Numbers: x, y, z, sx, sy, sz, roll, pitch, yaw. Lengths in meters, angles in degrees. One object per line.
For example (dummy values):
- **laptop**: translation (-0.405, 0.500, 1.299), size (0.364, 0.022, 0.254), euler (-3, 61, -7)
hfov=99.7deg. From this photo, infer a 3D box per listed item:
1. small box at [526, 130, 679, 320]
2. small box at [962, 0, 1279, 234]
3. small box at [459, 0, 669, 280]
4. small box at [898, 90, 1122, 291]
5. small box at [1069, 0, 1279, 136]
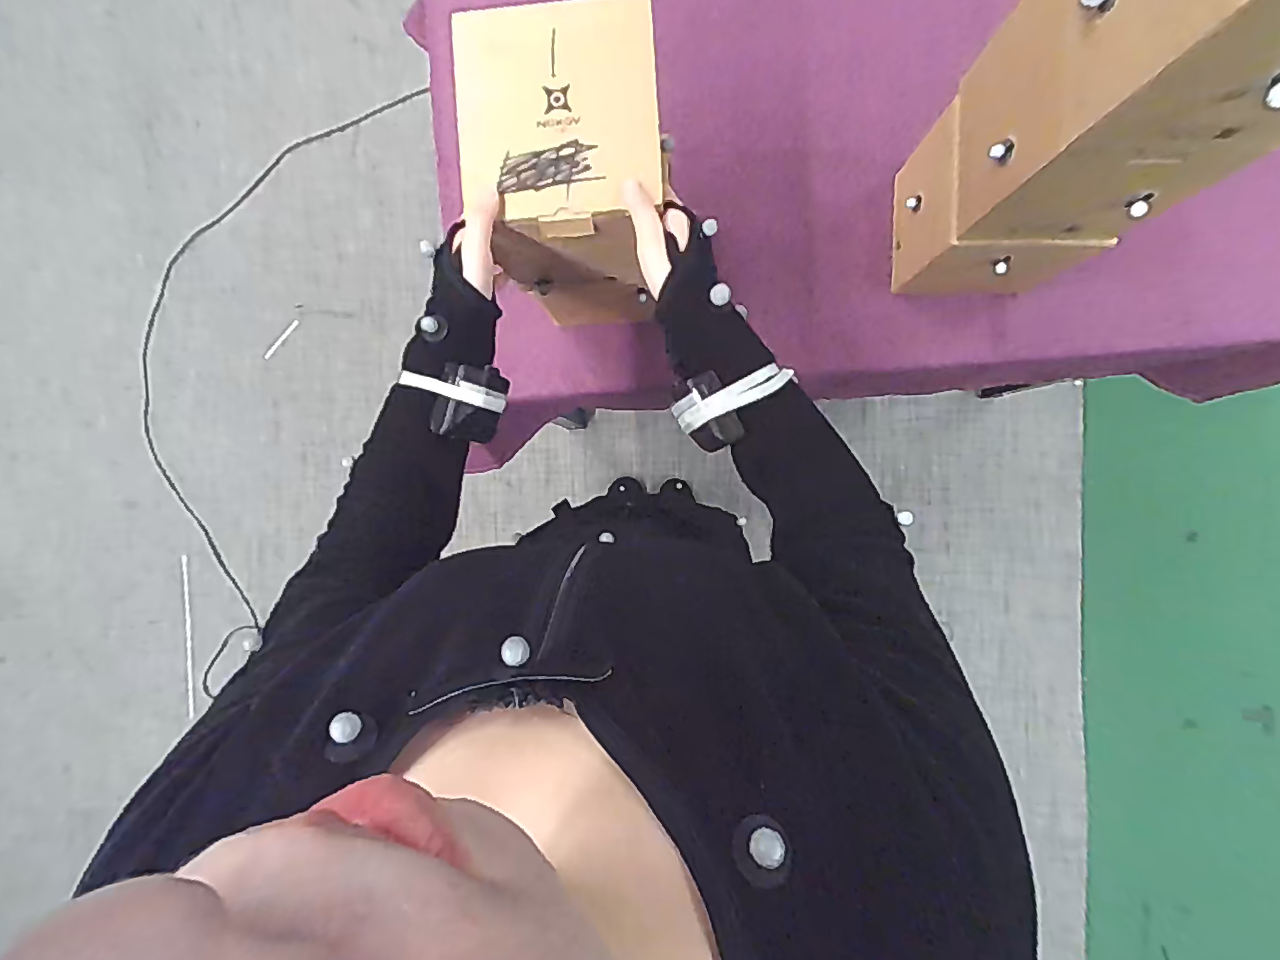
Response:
- **small box**: translation (-0.040, -0.312, 0.696), size (0.179, 0.176, 0.168), euler (-2, 91, 4)
- **small box**: translation (0.422, -0.345, 0.496), size (0.168, 0.176, 0.179), euler (2, 90, 4)
- **small box**: translation (-0.060, -0.306, 0.524), size (0.168, 0.176, 0.179), euler (-3, 89, 4)
- **small box**: translation (0.434, -0.339, 0.658), size (0.179, 0.176, 0.168), euler (2, 92, 4)
- **small box**: translation (0.407, -0.342, 0.332), size (0.168, 0.176, 0.179), euler (1, 92, 3)
